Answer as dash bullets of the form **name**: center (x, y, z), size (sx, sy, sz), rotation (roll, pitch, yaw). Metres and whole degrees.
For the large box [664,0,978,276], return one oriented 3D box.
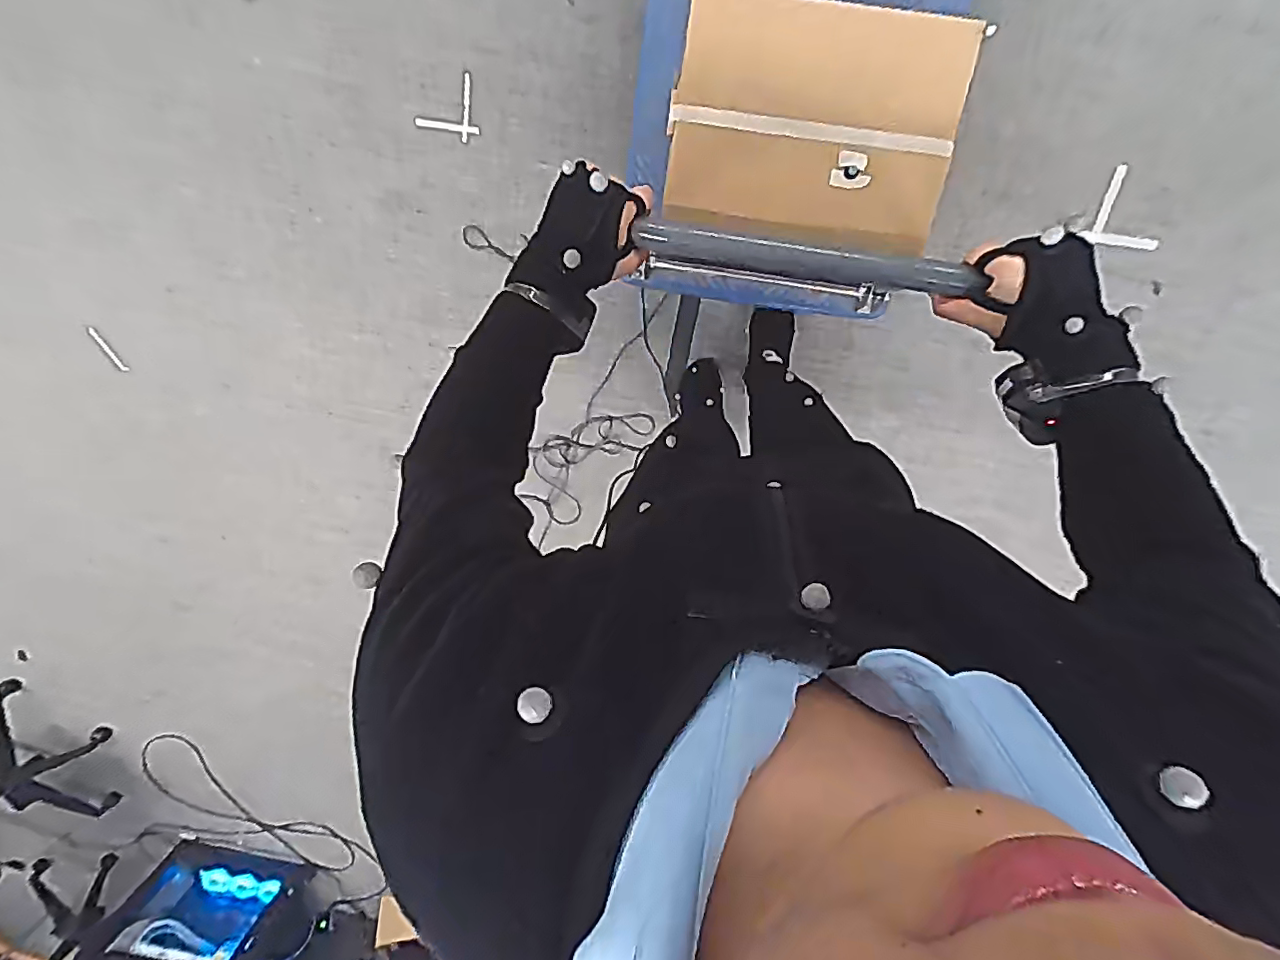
- **large box**: center (0.258, -0.546, 0.933), size (0.408, 0.320, 0.320), rotation (9, 109, 1)
